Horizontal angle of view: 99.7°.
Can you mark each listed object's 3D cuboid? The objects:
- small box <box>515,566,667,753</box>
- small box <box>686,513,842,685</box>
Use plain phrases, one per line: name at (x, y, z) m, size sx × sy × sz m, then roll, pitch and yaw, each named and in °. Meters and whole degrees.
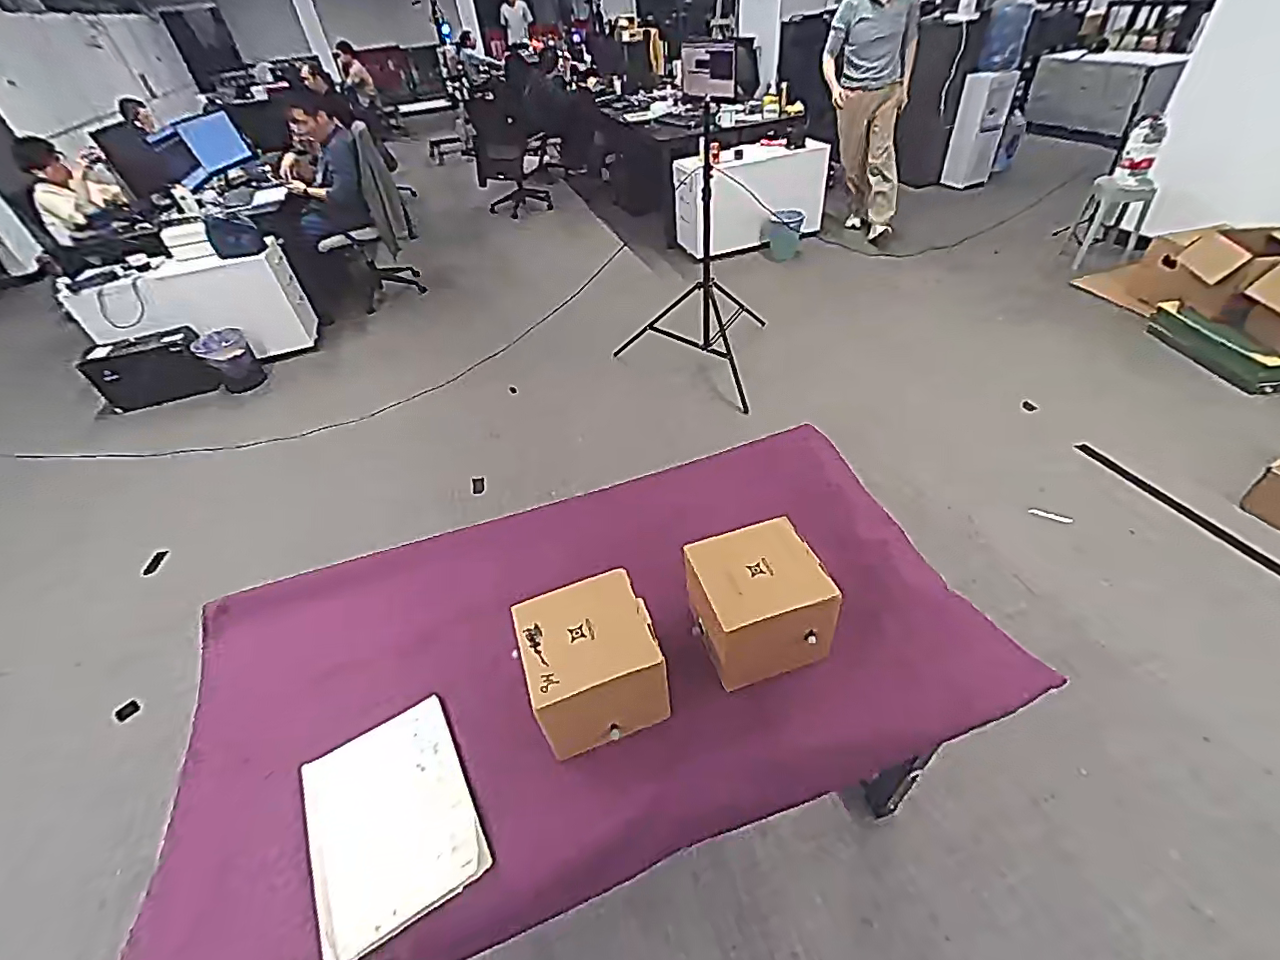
small box at (-0.067, 0.260, 0.784) m, size 0.179 × 0.176 × 0.168 m, roll -17°, pitch 42°, yaw -11°
small box at (0.182, 0.184, 0.834) m, size 0.179 × 0.176 × 0.168 m, roll -16°, pitch 41°, yaw -8°
